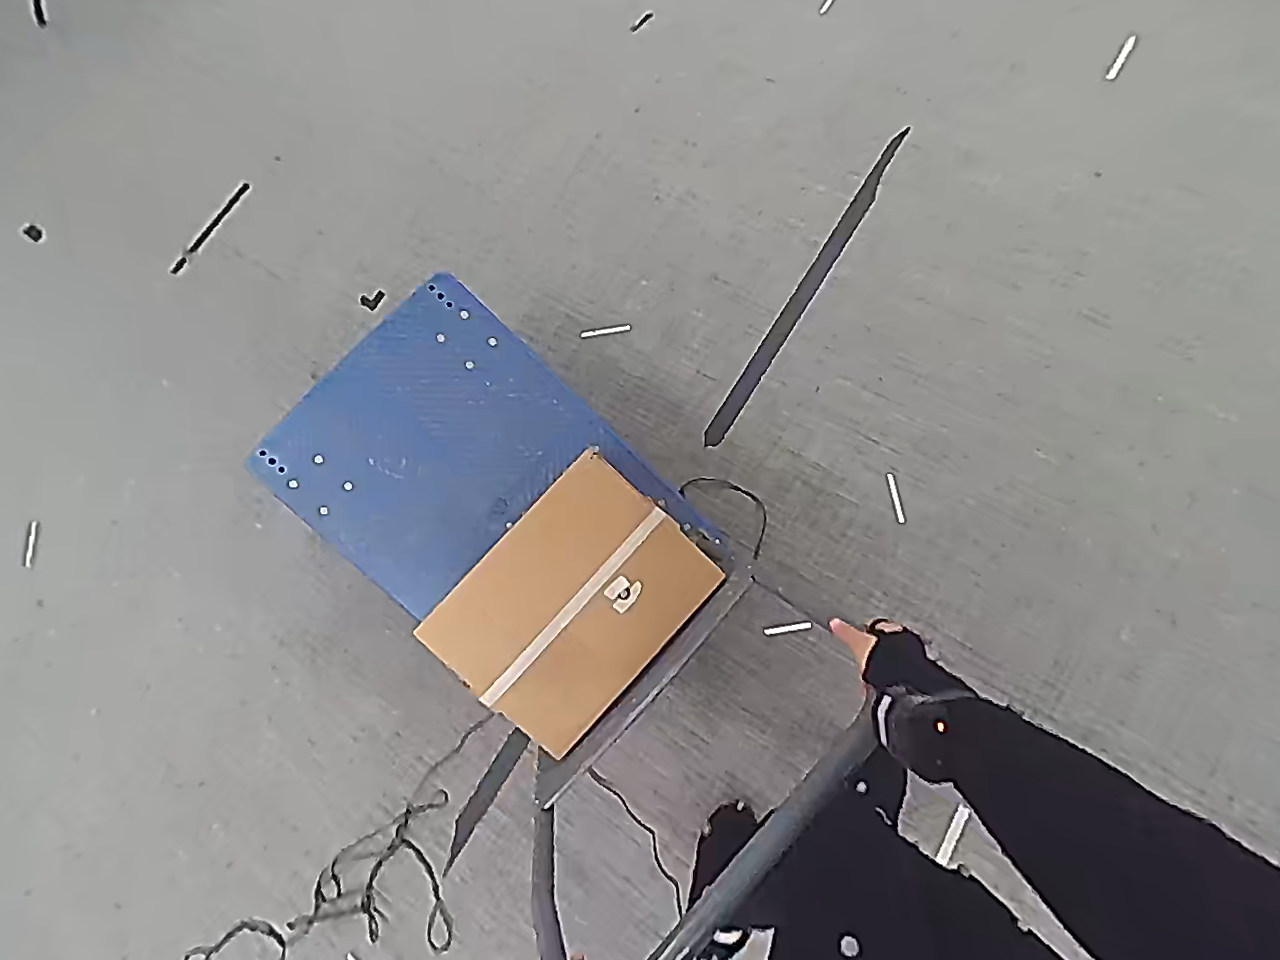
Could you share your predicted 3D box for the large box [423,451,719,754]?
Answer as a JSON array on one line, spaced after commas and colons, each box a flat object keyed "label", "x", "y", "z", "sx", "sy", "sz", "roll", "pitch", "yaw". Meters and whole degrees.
[{"label": "large box", "x": -0.124, "y": 0.203, "z": 1.026, "sx": 0.320, "sy": 0.320, "sz": 0.408, "roll": 42, "pitch": 84, "yaw": -5}]
